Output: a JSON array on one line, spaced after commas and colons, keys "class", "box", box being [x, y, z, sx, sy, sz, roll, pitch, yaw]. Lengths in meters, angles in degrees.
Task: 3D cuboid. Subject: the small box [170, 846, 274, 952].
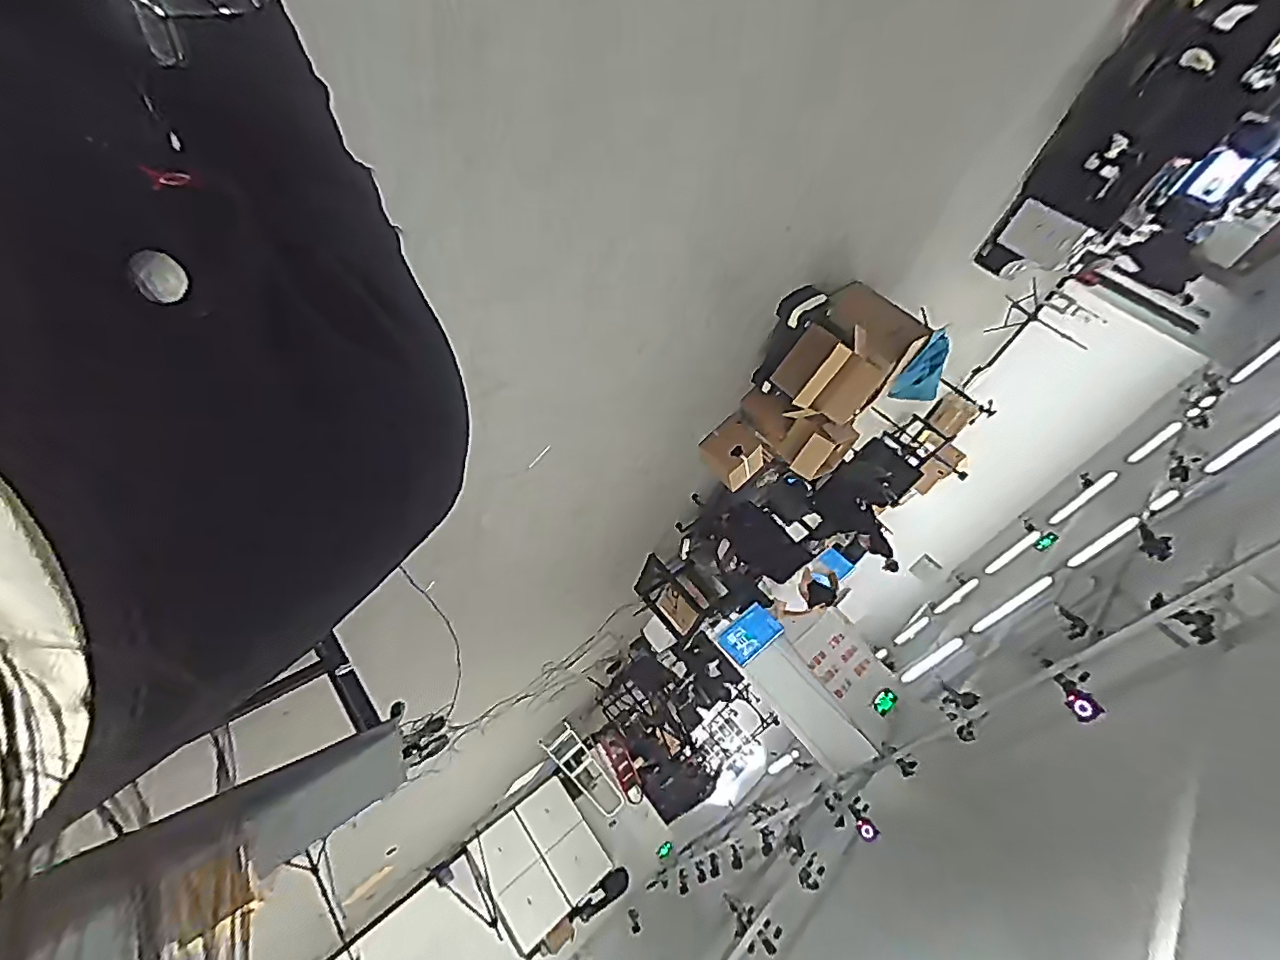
[{"class": "small box", "box": [-1.187, 1.189, 1.541, 0.179, 0.176, 0.168, -25, 150, -36]}]
